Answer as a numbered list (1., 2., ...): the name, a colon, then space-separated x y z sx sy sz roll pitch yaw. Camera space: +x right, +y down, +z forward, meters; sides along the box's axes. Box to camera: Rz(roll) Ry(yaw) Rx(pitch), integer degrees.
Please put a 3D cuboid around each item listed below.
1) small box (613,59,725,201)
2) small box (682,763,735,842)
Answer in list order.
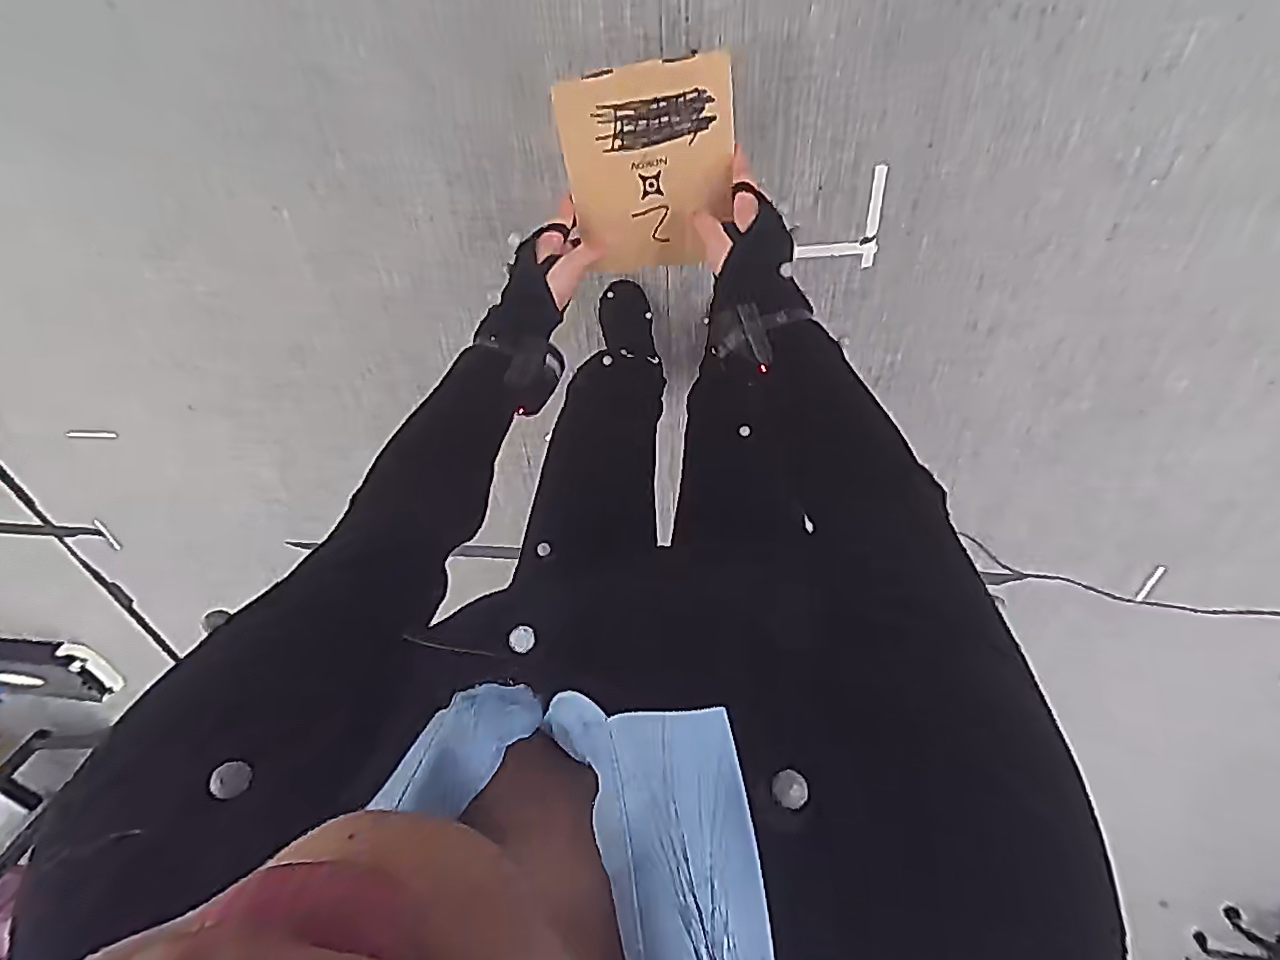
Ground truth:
1. small box: 0.052 -0.574 0.890 0.168 0.176 0.179 0 127 7
2. small box: 0.235 1.109 1.862 0.168 0.176 0.179 3 125 6
